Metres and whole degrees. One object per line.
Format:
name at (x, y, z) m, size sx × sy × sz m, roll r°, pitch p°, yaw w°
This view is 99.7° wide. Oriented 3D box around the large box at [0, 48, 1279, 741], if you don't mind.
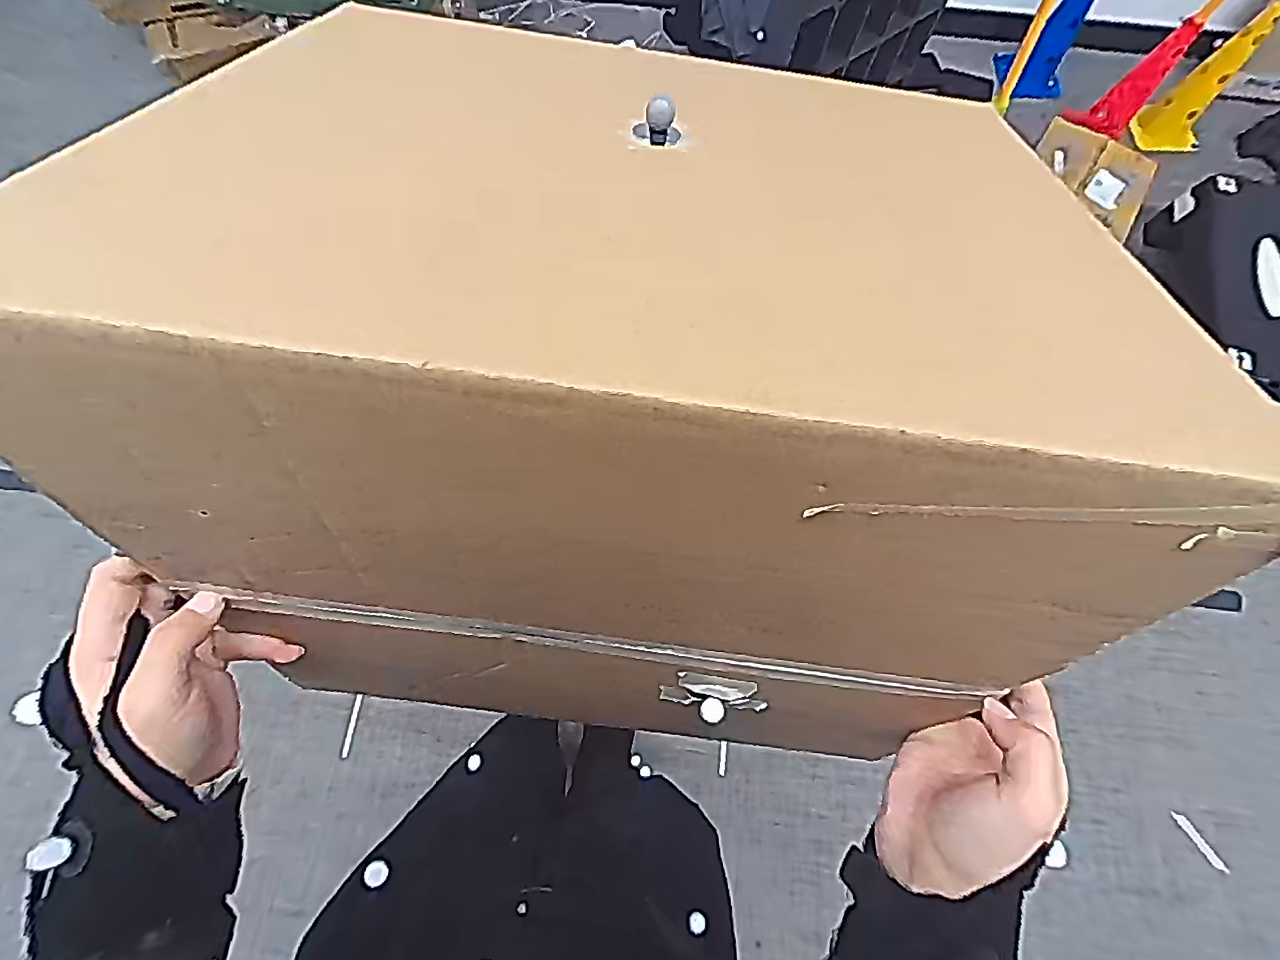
large box at (-0.011, -0.044, 0.363) m, size 0.408 × 0.320 × 0.320 m, roll 7°, pitch 53°, yaw -1°
